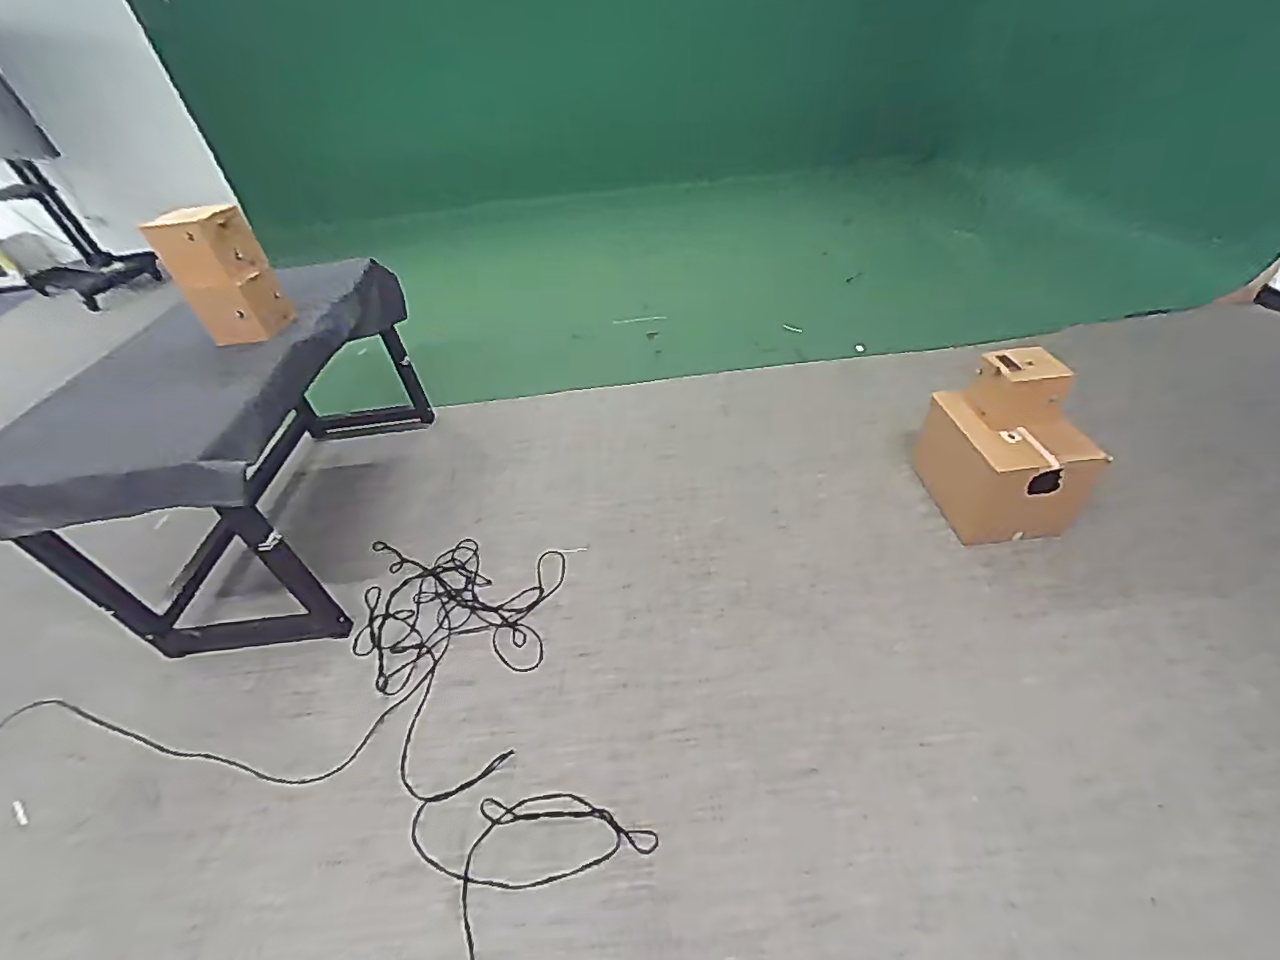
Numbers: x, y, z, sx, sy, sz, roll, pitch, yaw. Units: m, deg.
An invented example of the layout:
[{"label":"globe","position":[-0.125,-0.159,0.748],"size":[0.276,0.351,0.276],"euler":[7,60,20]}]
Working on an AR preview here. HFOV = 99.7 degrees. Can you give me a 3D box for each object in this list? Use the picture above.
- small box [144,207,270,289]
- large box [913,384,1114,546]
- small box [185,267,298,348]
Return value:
[{"label":"small box","position":[-1.198,-0.644,1.510],"size":[0.179,0.176,0.168],"euler":[-1,41,8]},{"label":"large box","position":[1.132,-0.052,1.709],"size":[0.320,0.320,0.408],"euler":[-8,43,2]},{"label":"small box","position":[-1.165,-0.510,1.600],"size":[0.179,0.176,0.168],"euler":[-6,41,5]}]
